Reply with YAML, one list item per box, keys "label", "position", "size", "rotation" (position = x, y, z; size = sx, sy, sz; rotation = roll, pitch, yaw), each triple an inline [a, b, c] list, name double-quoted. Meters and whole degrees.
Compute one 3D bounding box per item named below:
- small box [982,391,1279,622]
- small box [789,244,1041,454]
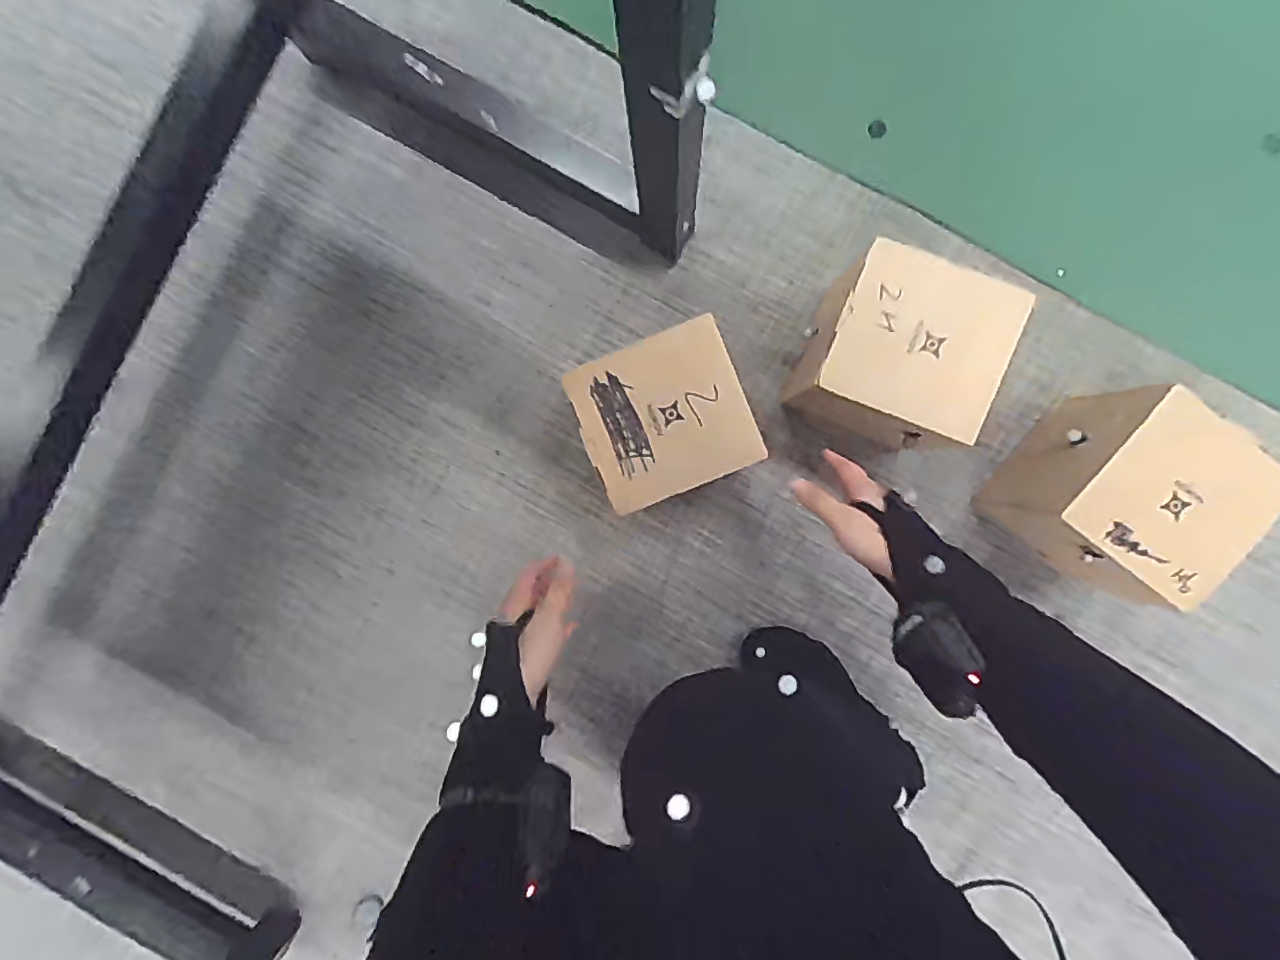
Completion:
- label: "small box"
  position: [0.547, 0.024, 0.619]
  size: [0.168, 0.176, 0.179]
  rotation: [39, 94, 1]
- label: "small box"
  position: [0.298, -0.137, 0.629]
  size: [0.179, 0.176, 0.168]
  rotation: [22, 93, 3]
